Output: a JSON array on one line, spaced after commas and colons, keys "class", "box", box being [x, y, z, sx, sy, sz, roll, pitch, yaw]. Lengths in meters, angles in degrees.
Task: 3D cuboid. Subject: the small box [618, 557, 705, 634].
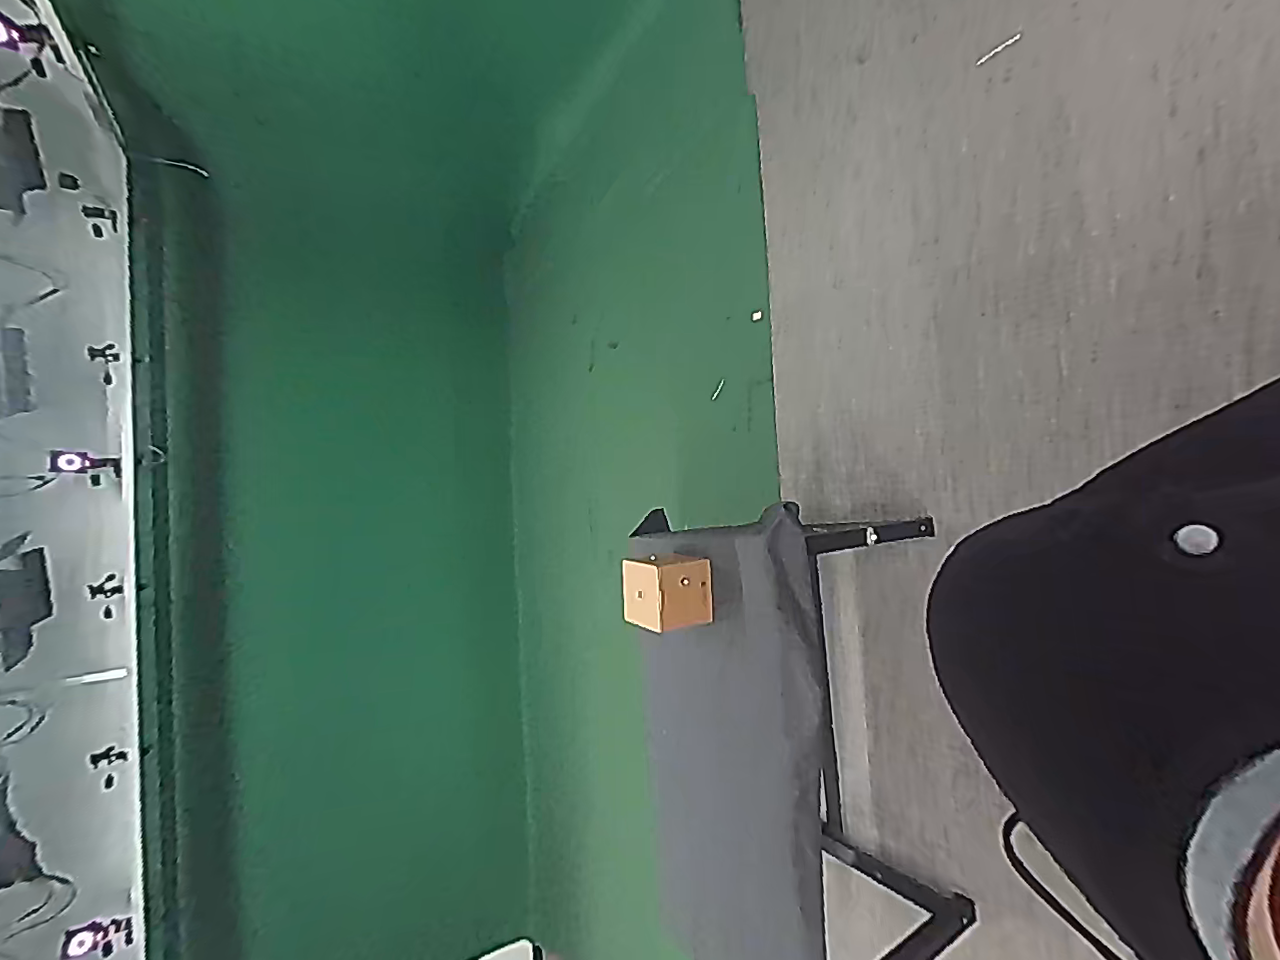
[{"class": "small box", "box": [0.059, 0.296, 1.425, 0.179, 0.176, 0.168, -4, 86, 59]}]
